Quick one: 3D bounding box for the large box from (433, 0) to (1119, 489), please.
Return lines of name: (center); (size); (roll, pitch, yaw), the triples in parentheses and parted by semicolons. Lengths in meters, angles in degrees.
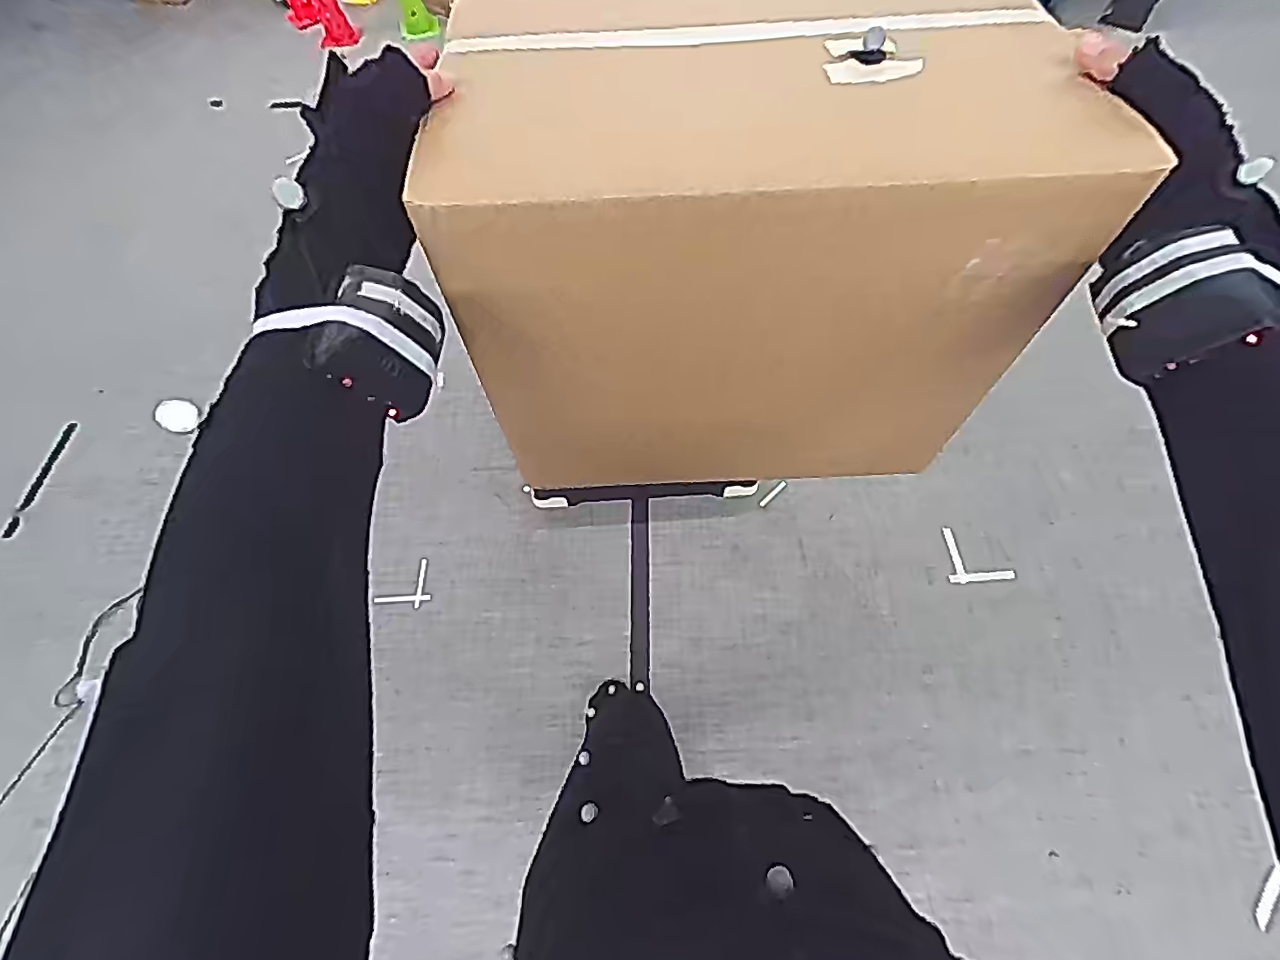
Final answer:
large box: (0.073, -0.203, 0.509); (0.408, 0.320, 0.320); (-2, 60, 0)
